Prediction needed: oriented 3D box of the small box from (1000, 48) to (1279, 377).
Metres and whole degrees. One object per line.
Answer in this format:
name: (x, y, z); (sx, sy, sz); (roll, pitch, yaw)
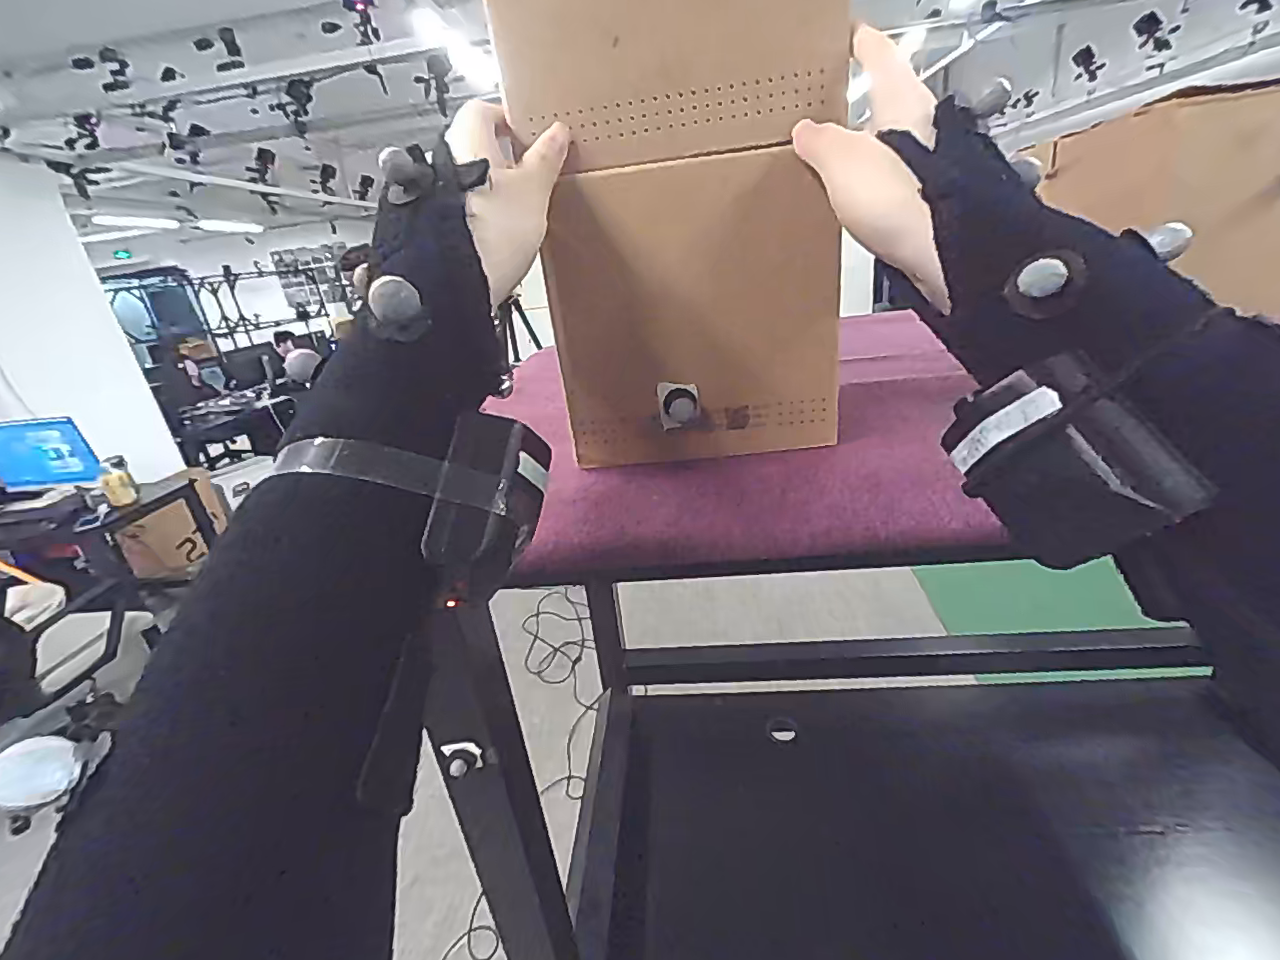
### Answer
small box: (0.378, -0.170, 0.371); (0.179, 0.176, 0.168); (-4, 21, 7)

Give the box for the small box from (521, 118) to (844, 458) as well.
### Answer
small box: (0.030, -0.126, 0.377); (0.168, 0.176, 0.179); (-7, 24, 4)

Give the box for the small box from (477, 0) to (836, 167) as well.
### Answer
small box: (0.004, -0.277, 0.316); (0.179, 0.176, 0.168); (-7, 23, 3)
